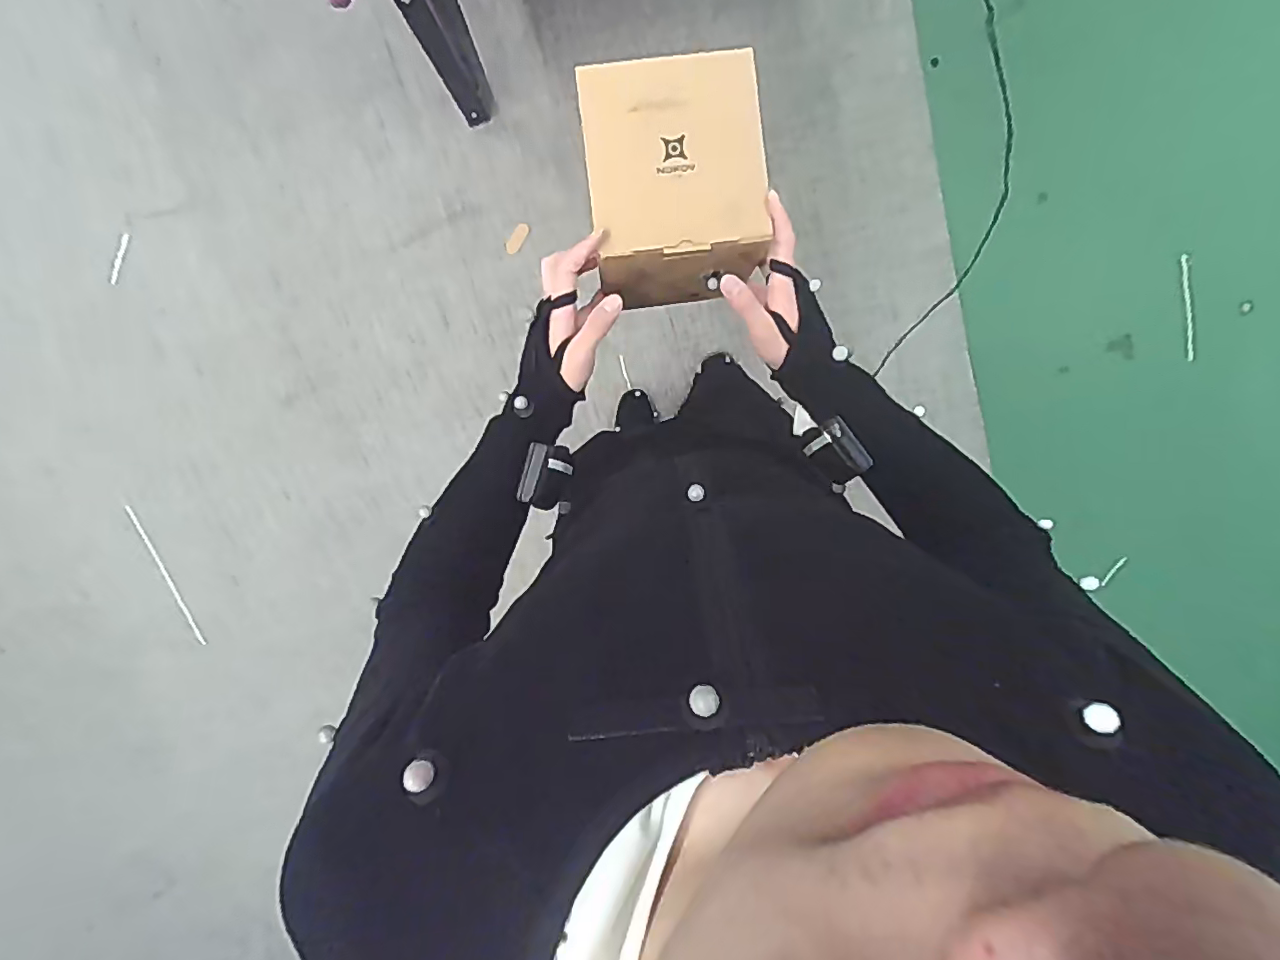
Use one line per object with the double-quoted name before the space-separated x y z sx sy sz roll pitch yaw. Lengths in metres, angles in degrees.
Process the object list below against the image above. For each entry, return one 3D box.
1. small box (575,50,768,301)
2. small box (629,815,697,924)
"small box" 0.028 -0.300 0.574 0.168 0.176 0.179 -6 91 -2
"small box" 0.057 1.048 1.461 0.168 0.176 0.179 2 100 -3
